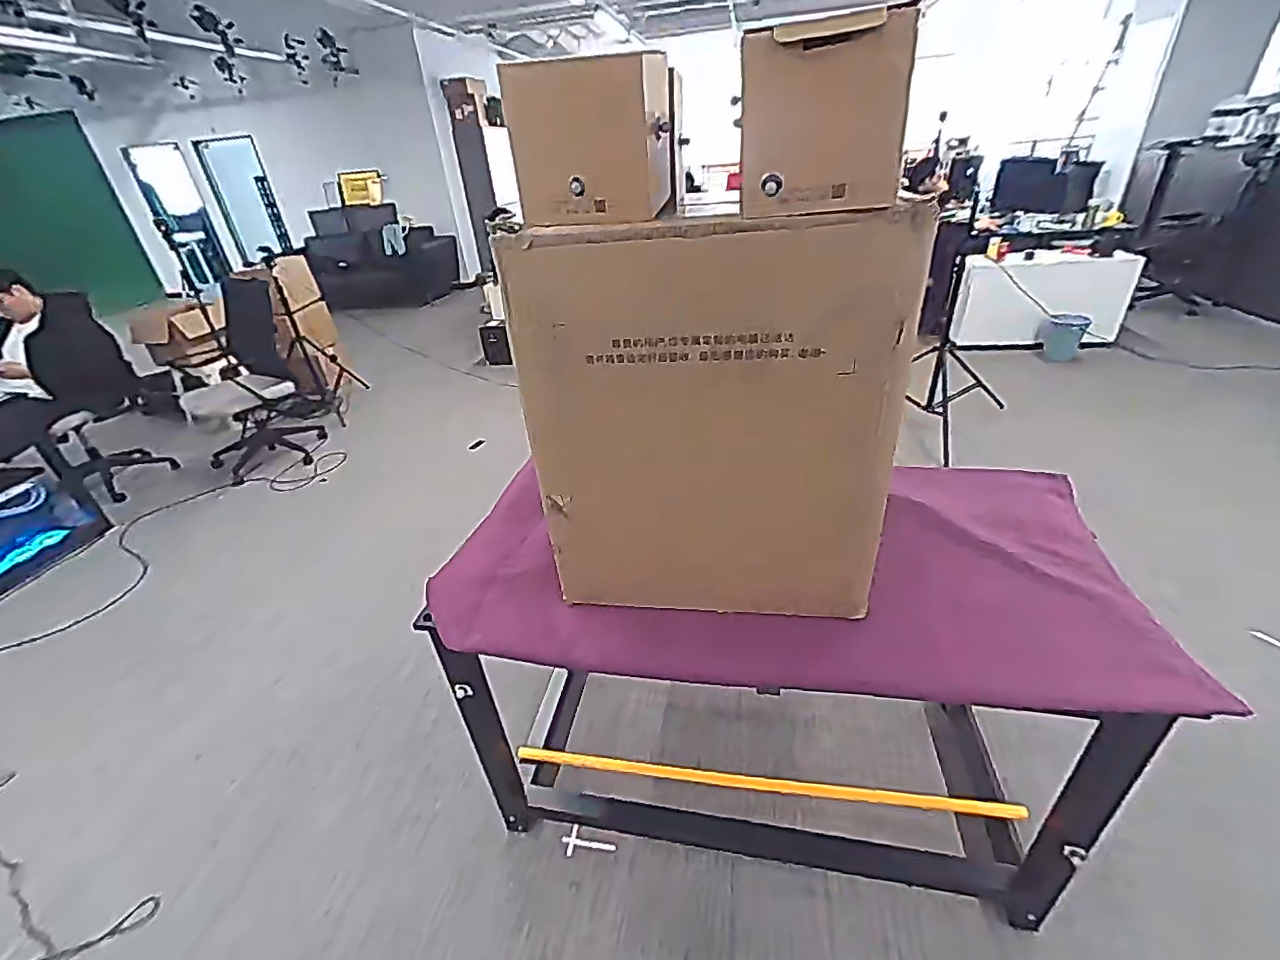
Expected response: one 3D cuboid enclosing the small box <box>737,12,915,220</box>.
[{"bbox_3d":[0.199,-0.403,0.622,0.168,0.176,0.179,1,33,12],"label":"small box"}]
